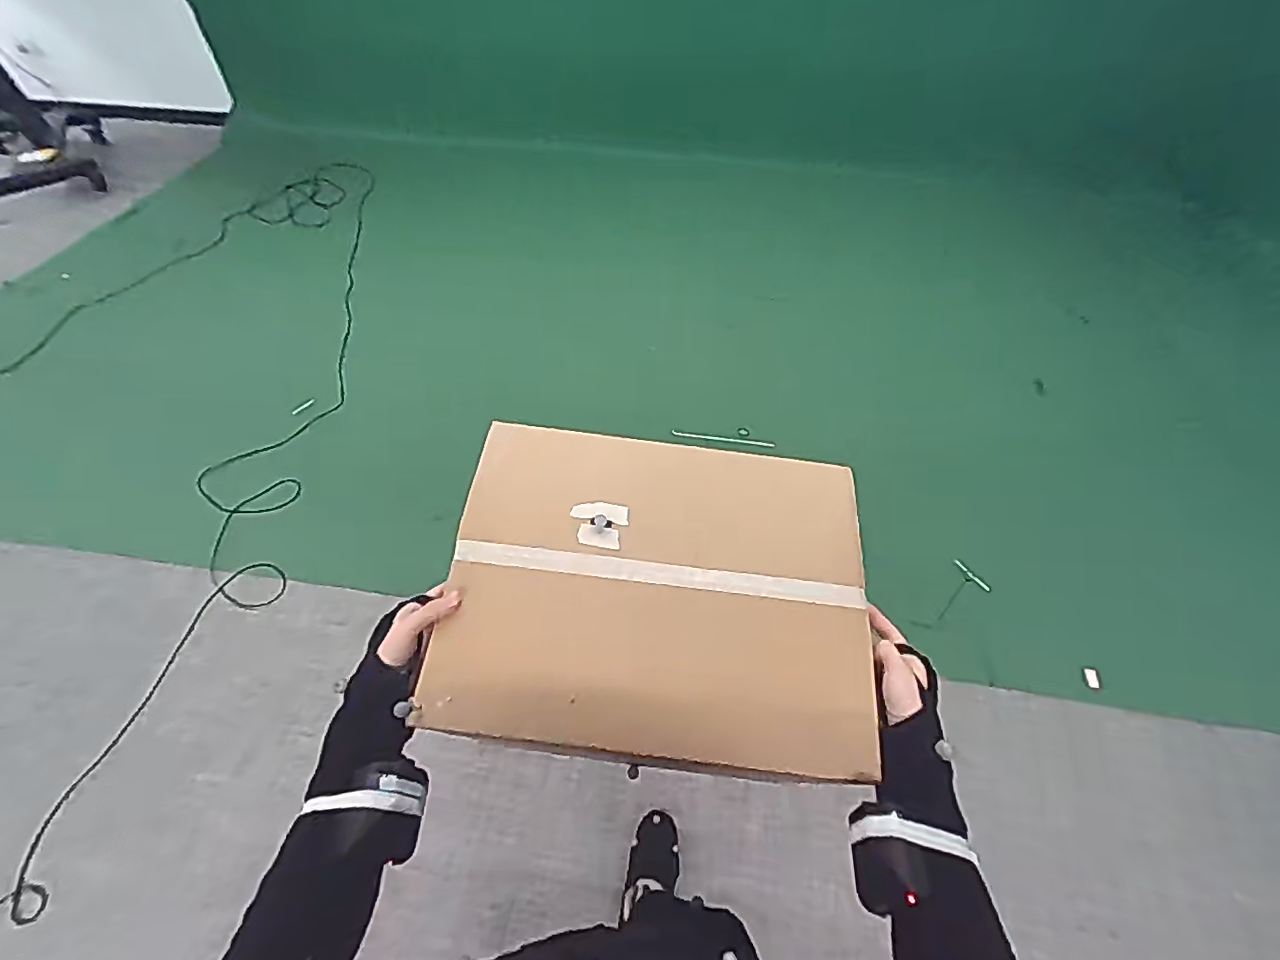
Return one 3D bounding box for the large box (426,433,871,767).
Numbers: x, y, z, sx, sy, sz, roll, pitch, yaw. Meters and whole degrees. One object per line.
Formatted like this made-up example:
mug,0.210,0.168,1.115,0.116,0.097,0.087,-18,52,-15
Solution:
large box,0.016,0.167,0.676,0.408,0.320,0.320,6,61,1
